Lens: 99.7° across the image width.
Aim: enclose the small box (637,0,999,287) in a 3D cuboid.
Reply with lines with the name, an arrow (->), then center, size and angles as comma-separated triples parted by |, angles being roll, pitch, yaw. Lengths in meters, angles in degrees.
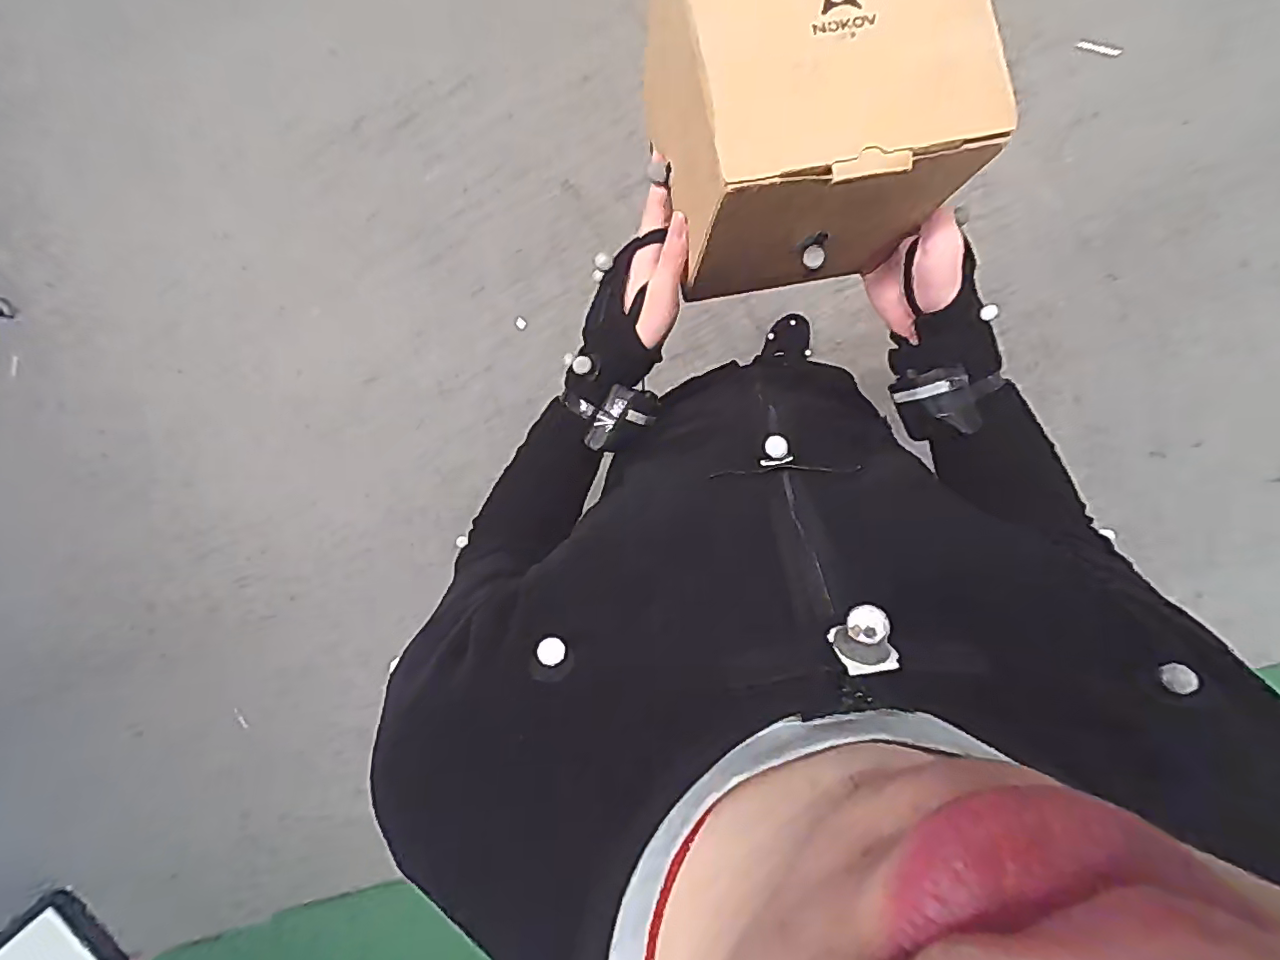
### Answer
small box -> 0.095, -0.247, 0.367 | 0.168, 0.176, 0.179 | -10, 89, -4
